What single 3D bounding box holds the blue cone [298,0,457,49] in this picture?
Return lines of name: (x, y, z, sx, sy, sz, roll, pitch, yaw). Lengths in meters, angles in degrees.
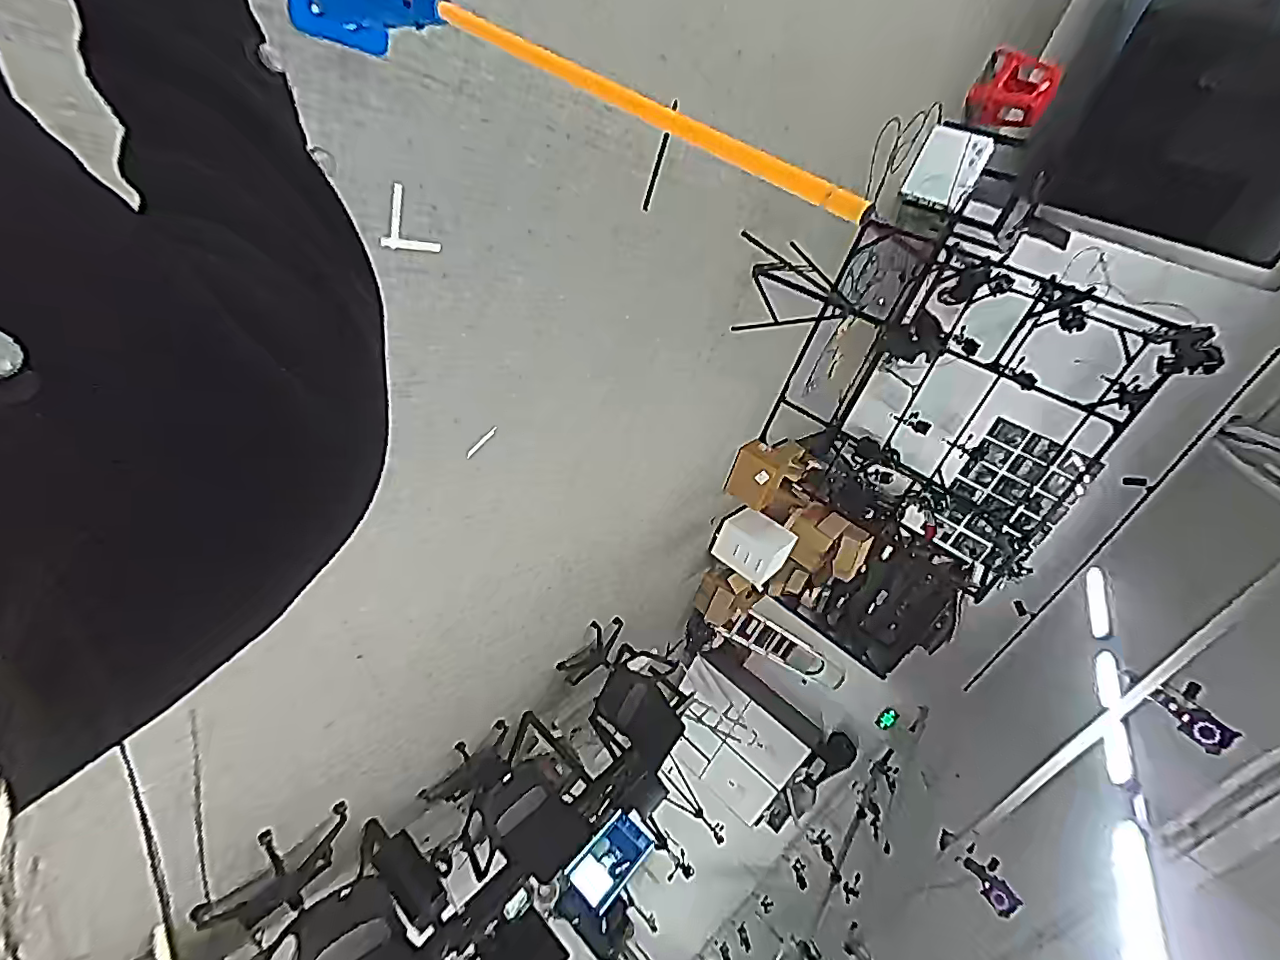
blue cone: (-0.466, -0.909, 1.006, 0.193, 0.380, 0.192, -23, 139, -49)
